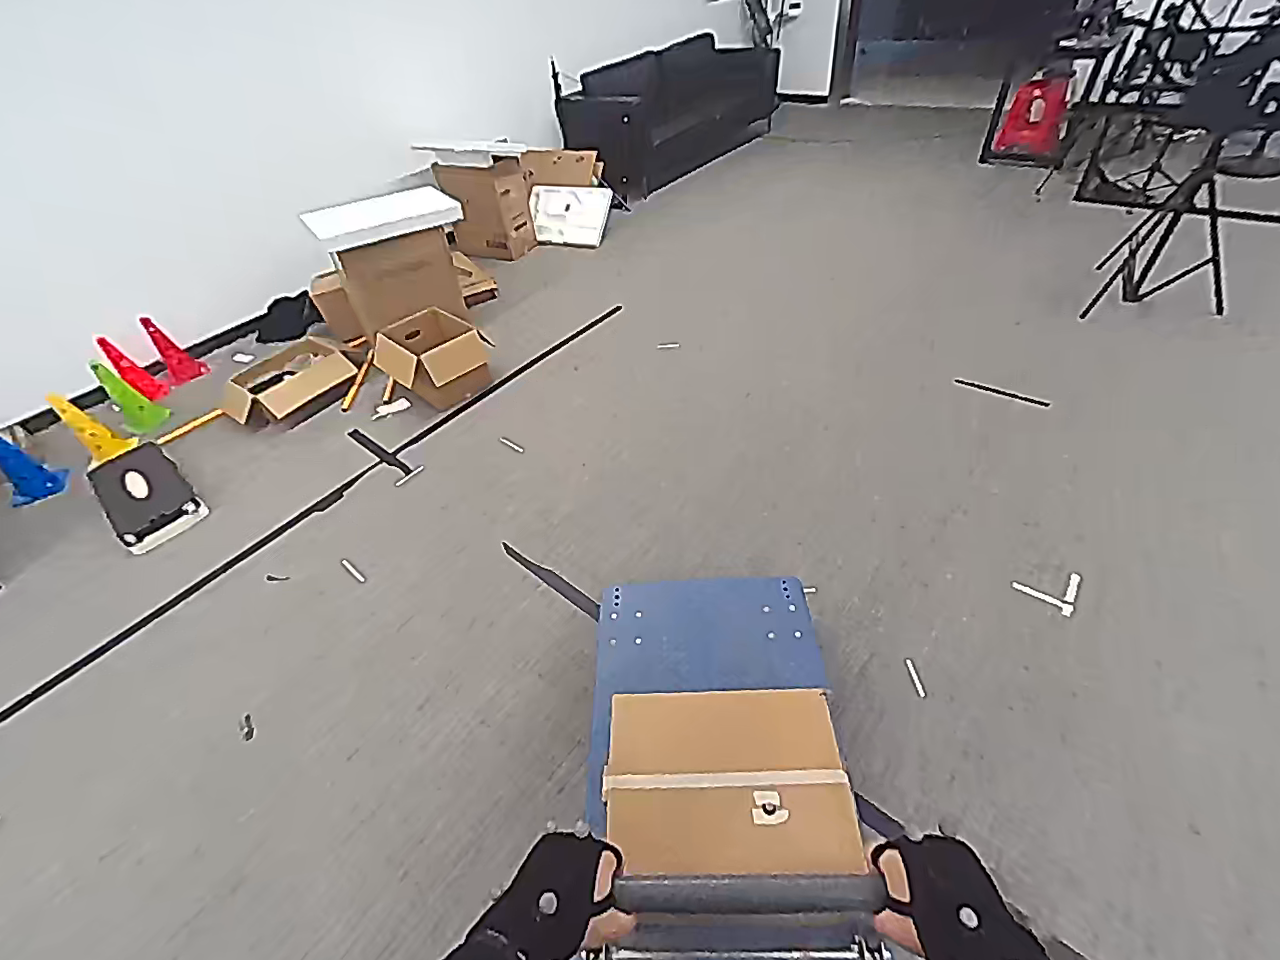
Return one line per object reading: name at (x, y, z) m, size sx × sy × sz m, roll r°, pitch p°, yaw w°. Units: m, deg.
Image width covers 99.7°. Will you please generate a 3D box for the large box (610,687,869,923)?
large box at (0.157, 0.620, 1.030) m, size 0.408 × 0.320 × 0.320 m, roll -3°, pitch 44°, yaw 3°
